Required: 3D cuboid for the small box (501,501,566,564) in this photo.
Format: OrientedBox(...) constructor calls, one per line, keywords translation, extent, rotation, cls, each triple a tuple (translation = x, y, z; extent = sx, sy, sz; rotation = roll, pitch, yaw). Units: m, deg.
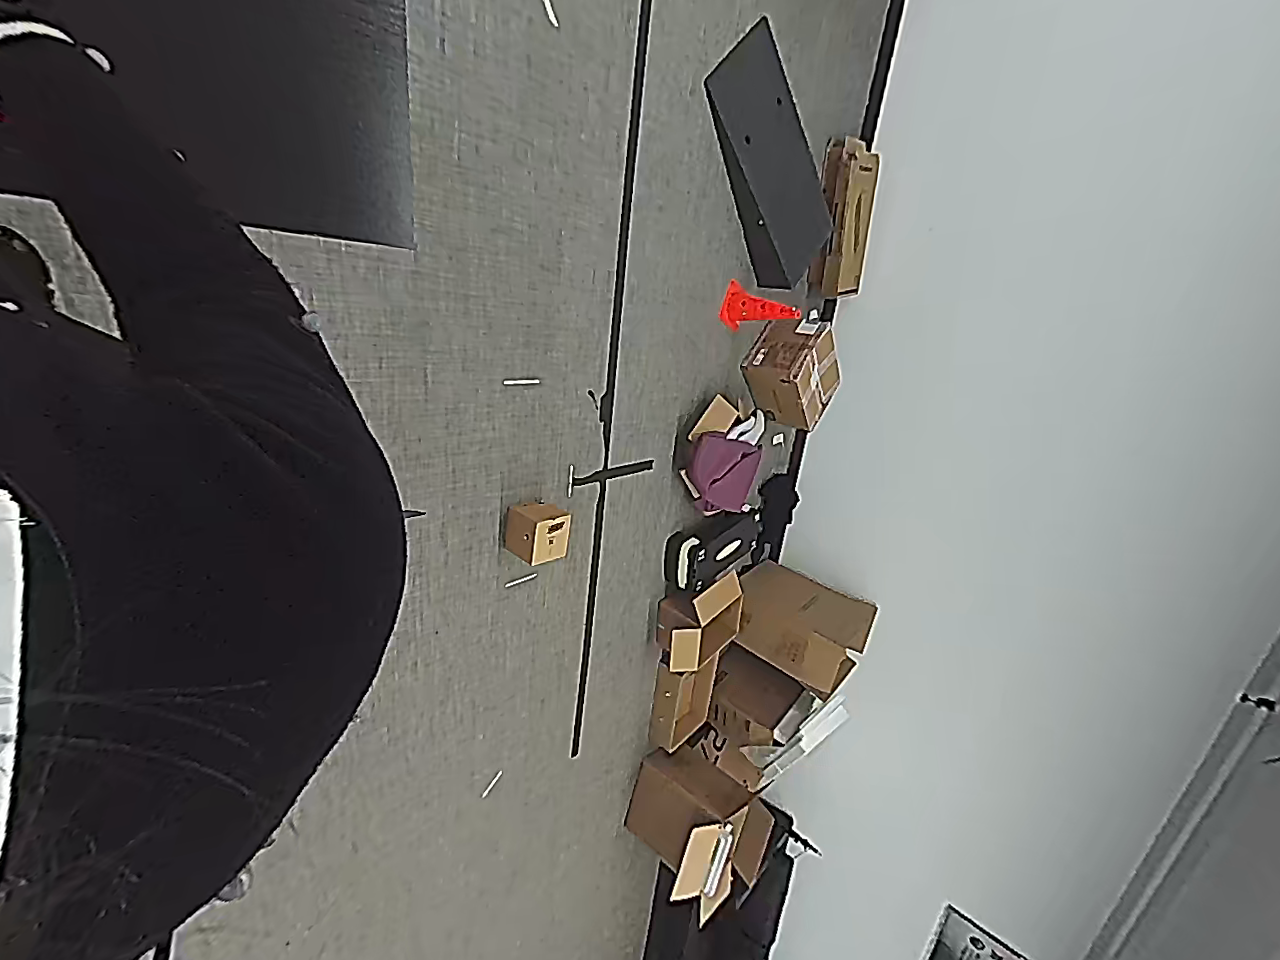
OrientedBox(translation=(-0.403, 0.188, 2.026), extent=(0.168, 0.176, 0.179), rotation=(-11, 117, -49), cls="small box")
